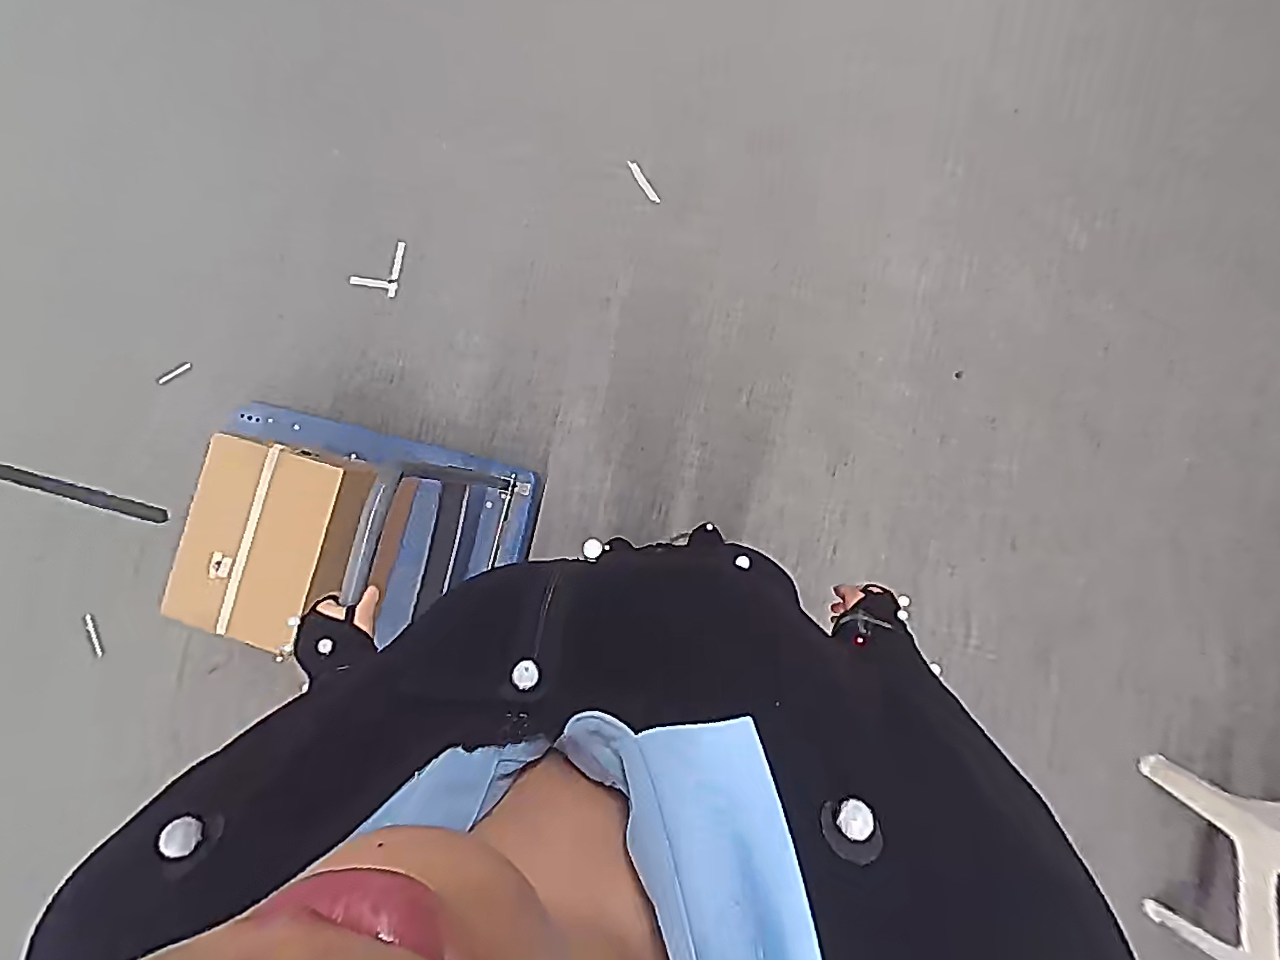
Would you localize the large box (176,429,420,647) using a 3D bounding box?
[{"bbox_3d":[-0.781,0.123,1.287,0.320,0.320,0.408,16,89,8],"label":"large box"}]
